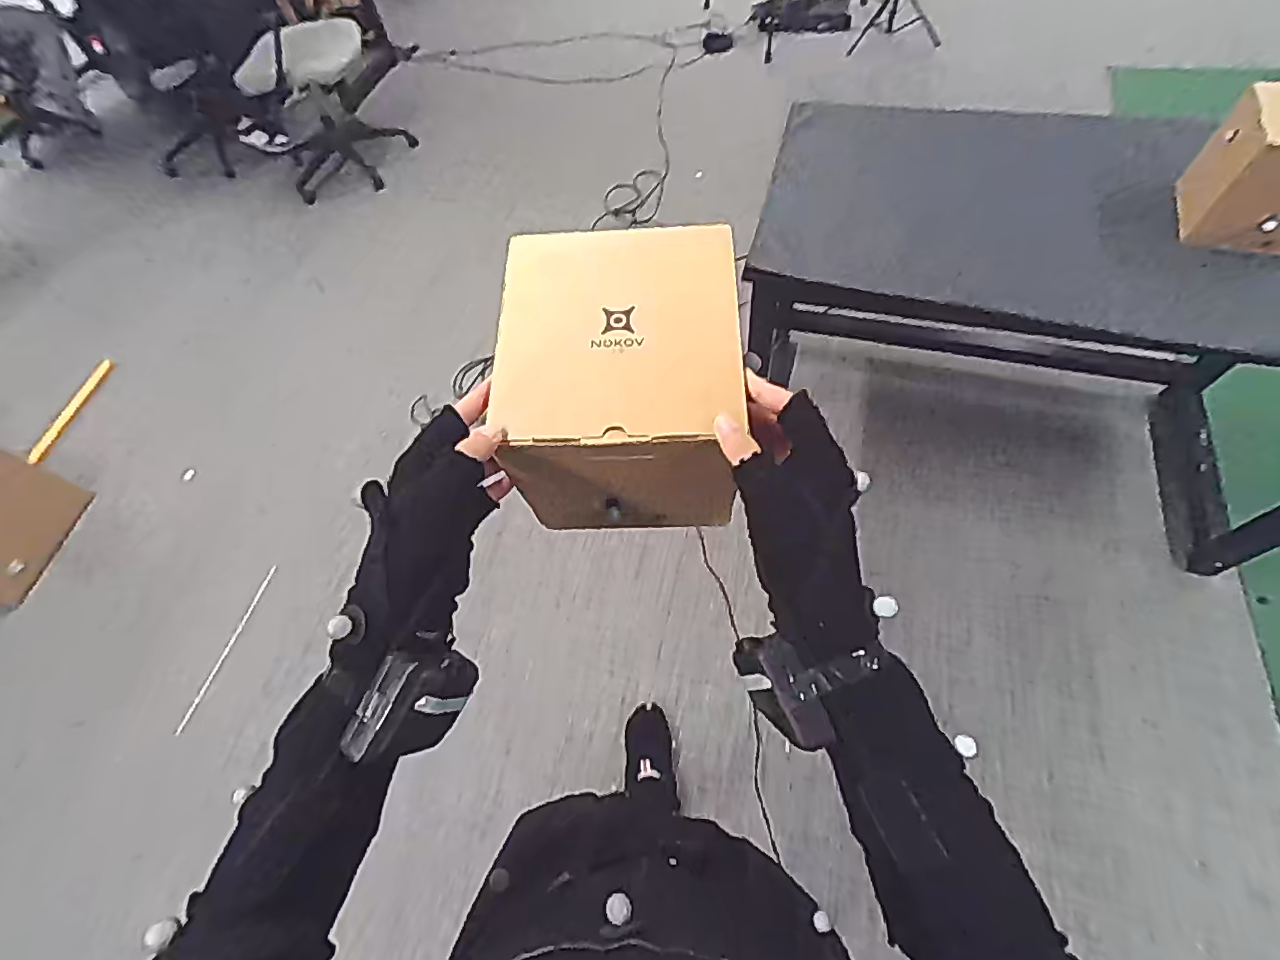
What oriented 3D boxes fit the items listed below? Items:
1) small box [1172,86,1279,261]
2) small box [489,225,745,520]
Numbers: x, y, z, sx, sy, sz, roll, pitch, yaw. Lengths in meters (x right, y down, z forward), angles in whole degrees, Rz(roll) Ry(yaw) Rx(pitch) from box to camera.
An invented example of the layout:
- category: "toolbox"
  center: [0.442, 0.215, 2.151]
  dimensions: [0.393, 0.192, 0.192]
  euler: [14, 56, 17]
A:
- category: "small box"
  center: [0.994, -0.481, 0.853]
  dimensions: [0.168, 0.176, 0.179]
  euler: [17, 64, 17]
- category: "small box"
  center: [-0.010, -0.077, 0.445]
  dimensions: [0.168, 0.176, 0.179]
  euler: [-2, 67, 4]
